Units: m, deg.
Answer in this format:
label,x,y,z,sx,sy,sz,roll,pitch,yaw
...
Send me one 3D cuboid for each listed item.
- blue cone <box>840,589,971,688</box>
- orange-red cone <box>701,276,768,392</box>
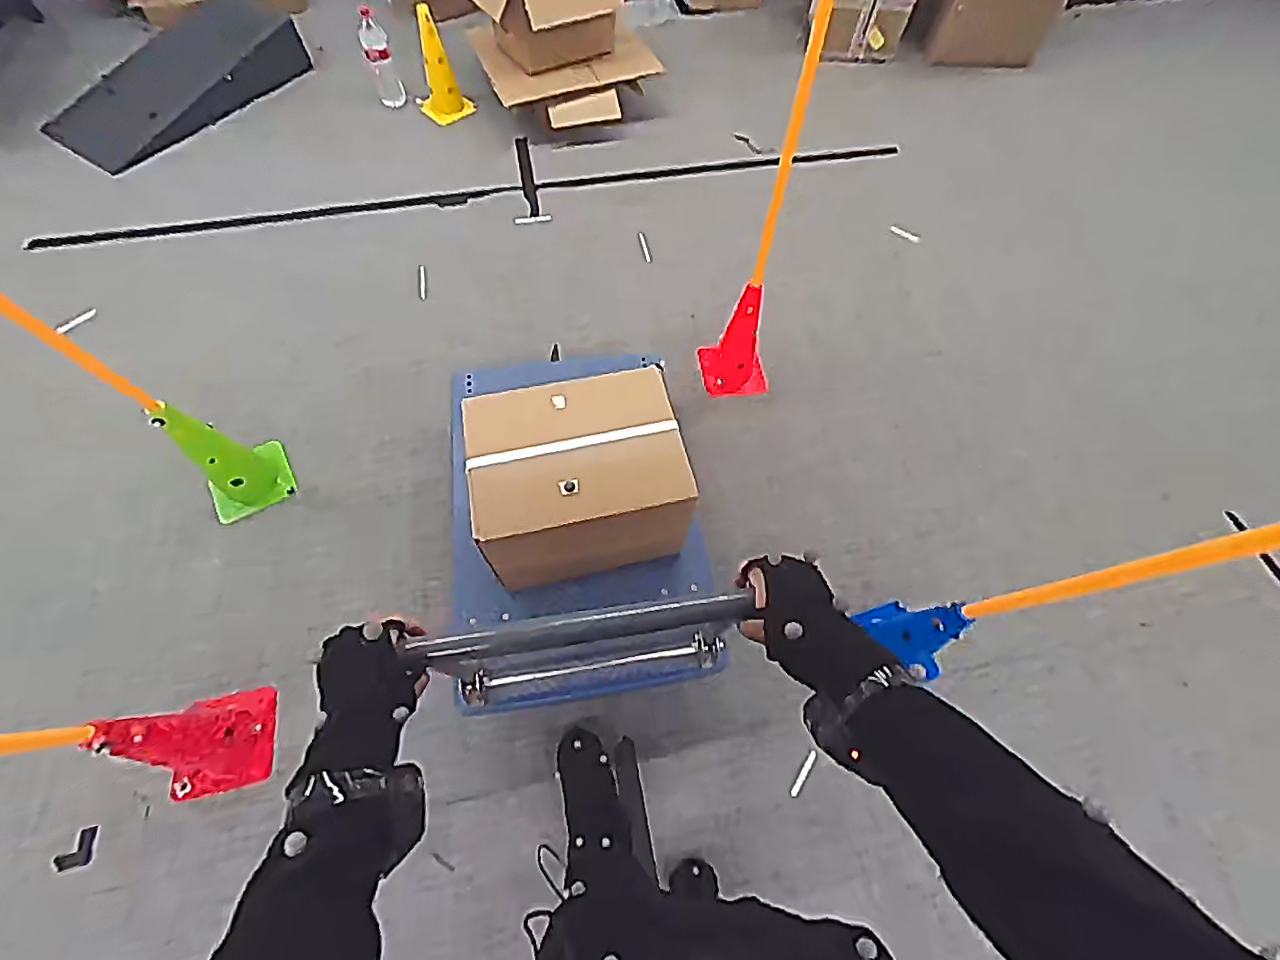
label,x,y,z,sx,sy,sz,roll,pitch,yaw
blue cone,0.619,0.326,1.198,0.193,0.380,0.192,-13,62,-9
orange-red cone,0.307,-0.443,1.574,0.199,0.360,0.198,-3,63,-5
